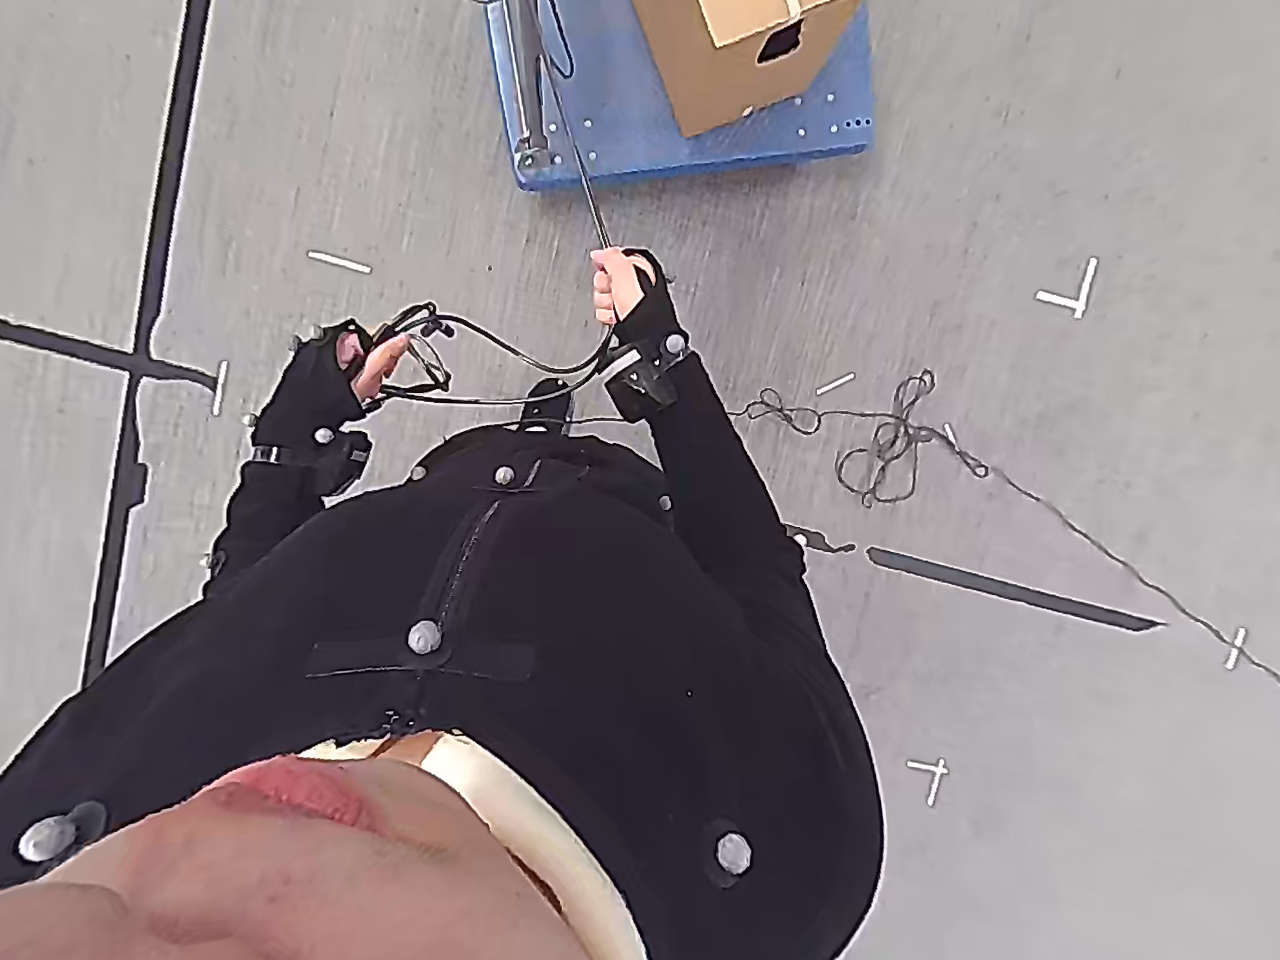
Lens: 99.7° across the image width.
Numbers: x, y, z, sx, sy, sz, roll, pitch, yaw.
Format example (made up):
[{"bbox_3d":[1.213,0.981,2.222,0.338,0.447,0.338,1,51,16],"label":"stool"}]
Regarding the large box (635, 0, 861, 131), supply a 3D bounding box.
[{"bbox_3d":[0.181,-1.018,1.075,0.320,0.320,0.408,-24,99,-2],"label":"large box"}]
